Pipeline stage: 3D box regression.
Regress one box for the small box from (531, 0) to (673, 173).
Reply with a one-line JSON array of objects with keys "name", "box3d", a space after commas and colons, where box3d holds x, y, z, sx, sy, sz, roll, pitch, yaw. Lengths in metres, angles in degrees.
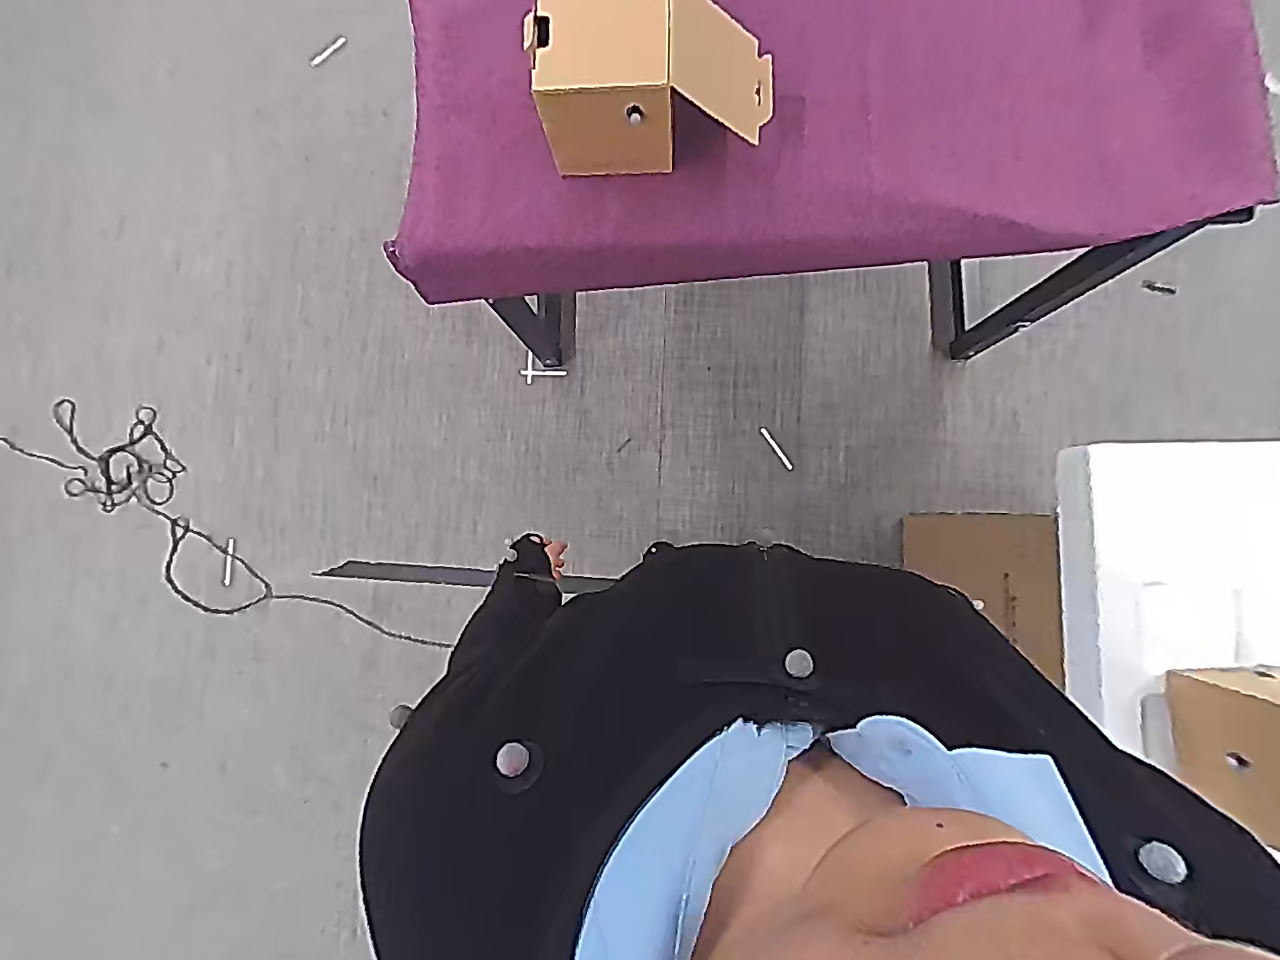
[{"name": "small box", "box3d": [-0.042, -0.559, 0.757, 0.179, 0.176, 0.168, 1, 84, 5]}]
